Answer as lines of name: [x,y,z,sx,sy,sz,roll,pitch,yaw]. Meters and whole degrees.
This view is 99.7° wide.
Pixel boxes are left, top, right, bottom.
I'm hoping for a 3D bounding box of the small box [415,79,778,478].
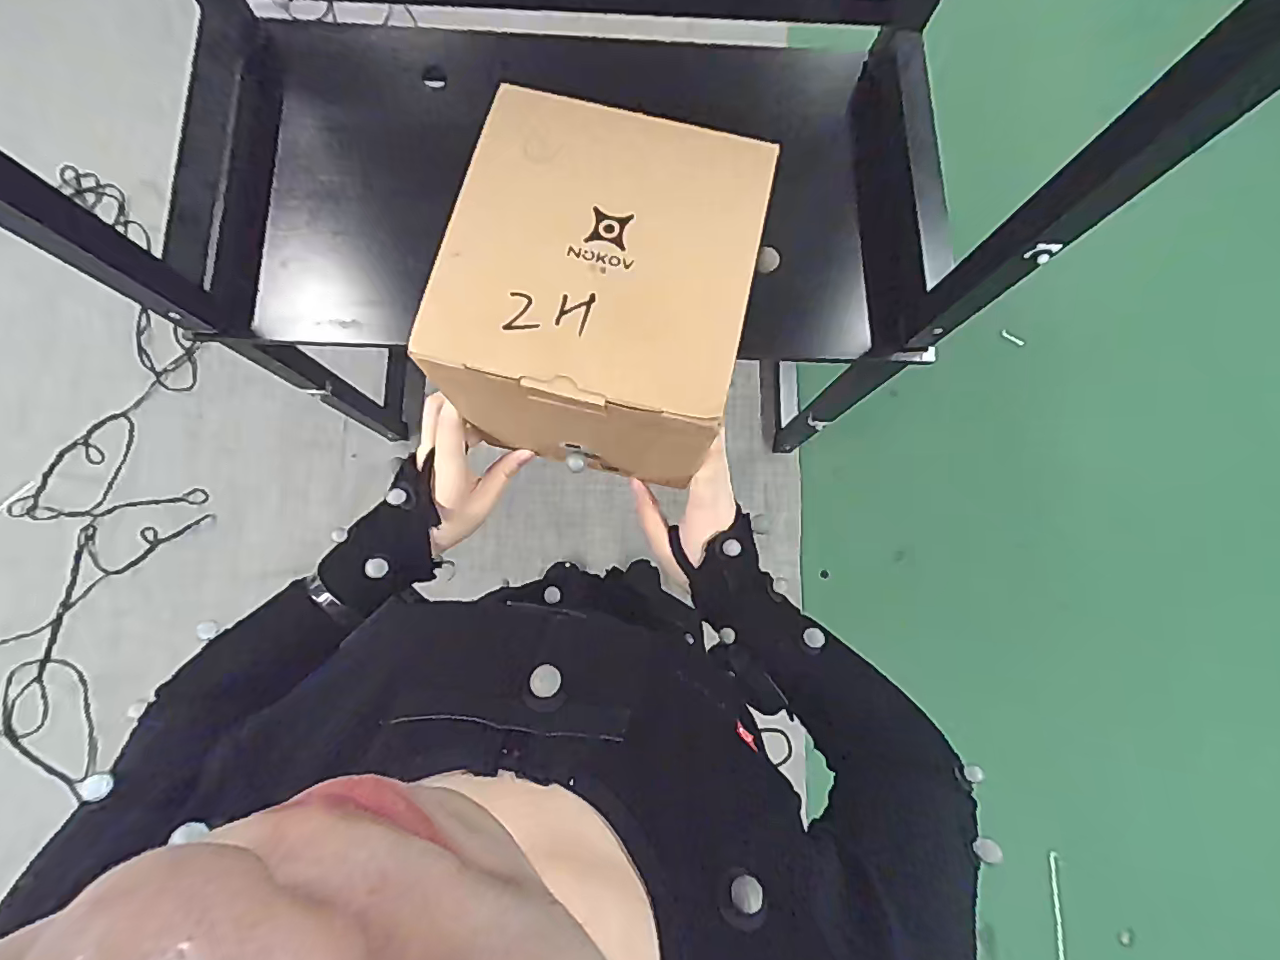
small box: [-0.021,-0.116,0.373,0.168,0.176,0.179,14,79,2]
